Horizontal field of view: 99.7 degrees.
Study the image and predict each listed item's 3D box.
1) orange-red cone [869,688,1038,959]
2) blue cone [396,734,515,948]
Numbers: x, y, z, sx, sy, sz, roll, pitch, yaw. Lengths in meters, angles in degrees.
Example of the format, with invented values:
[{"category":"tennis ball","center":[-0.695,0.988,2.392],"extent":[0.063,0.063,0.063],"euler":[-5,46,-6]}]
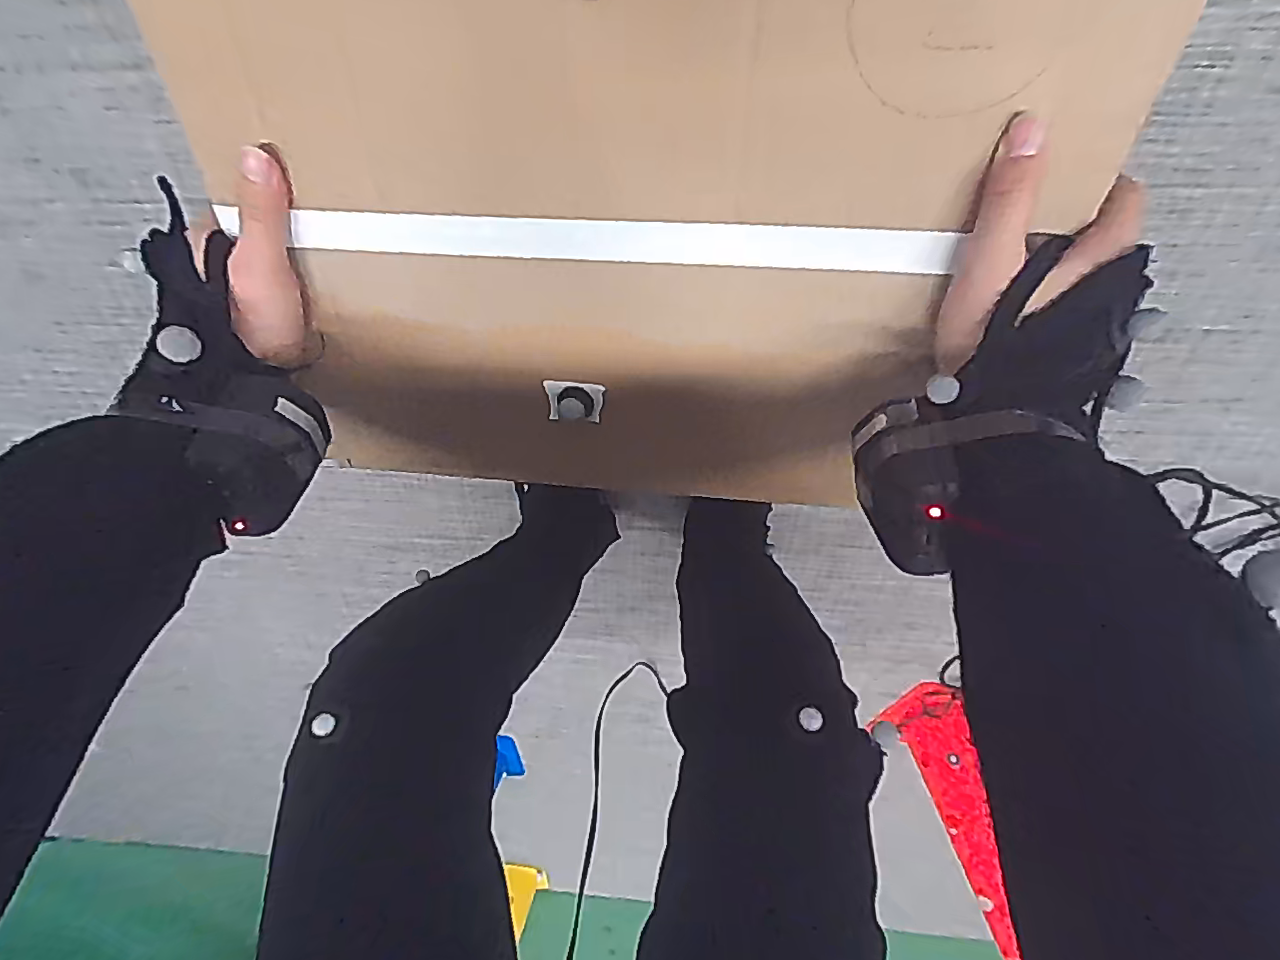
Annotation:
[{"category":"orange-red cone","center":[0.541,0.556,0.866],"extent":[0.199,0.360,0.198],"euler":[18,129,-8]},{"category":"blue cone","center":[-0.417,0.770,1.173],"extent":[0.192,0.380,0.193],"euler":[3,127,5]}]
